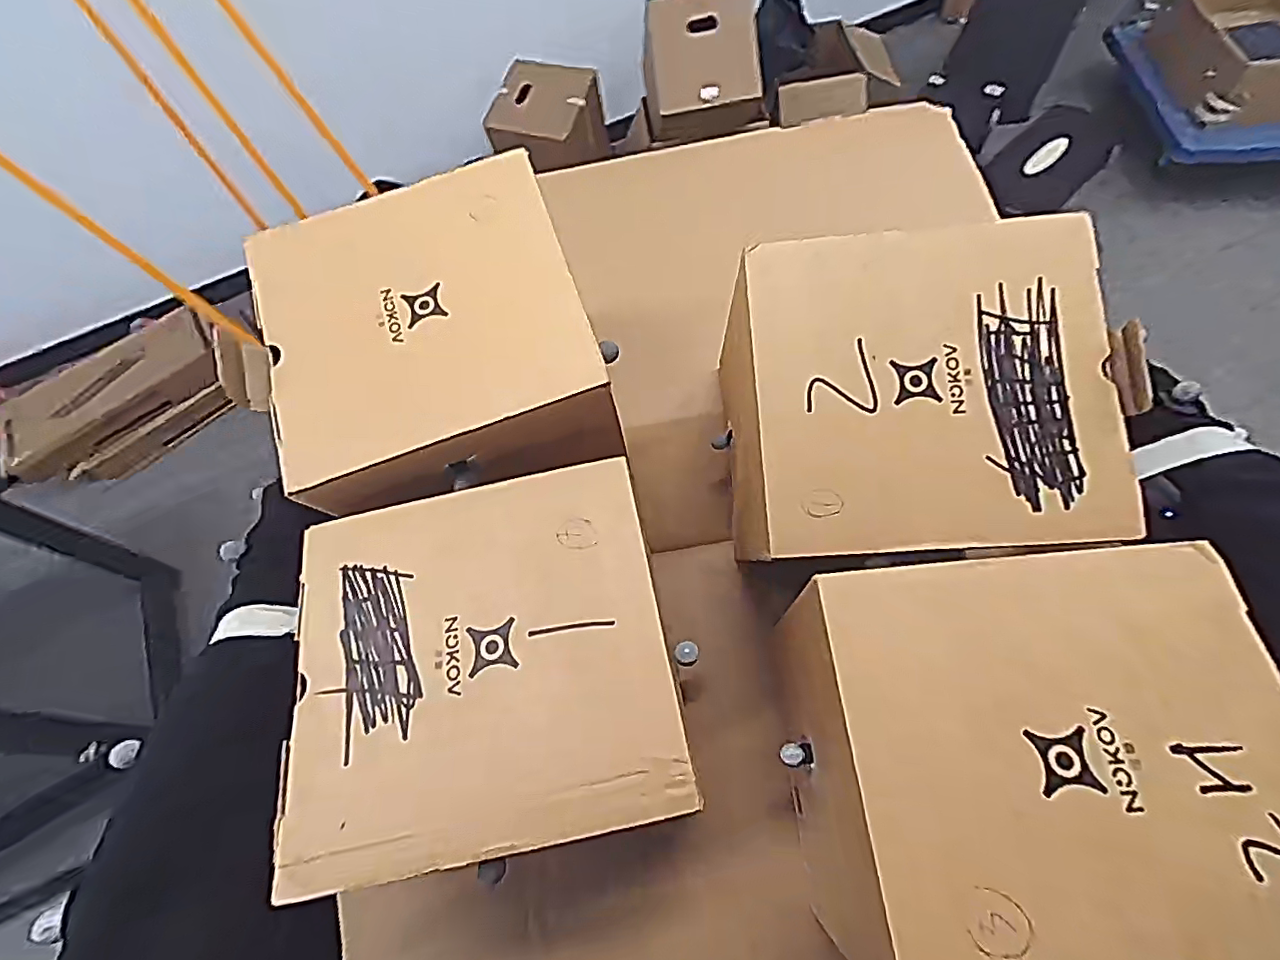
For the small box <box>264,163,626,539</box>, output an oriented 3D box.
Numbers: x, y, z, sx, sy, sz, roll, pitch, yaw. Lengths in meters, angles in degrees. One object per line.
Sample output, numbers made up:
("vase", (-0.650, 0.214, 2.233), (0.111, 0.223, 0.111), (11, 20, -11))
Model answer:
("small box", (-0.115, -0.071, 0.382), (0.179, 0.176, 0.168), (-19, 73, -1))
